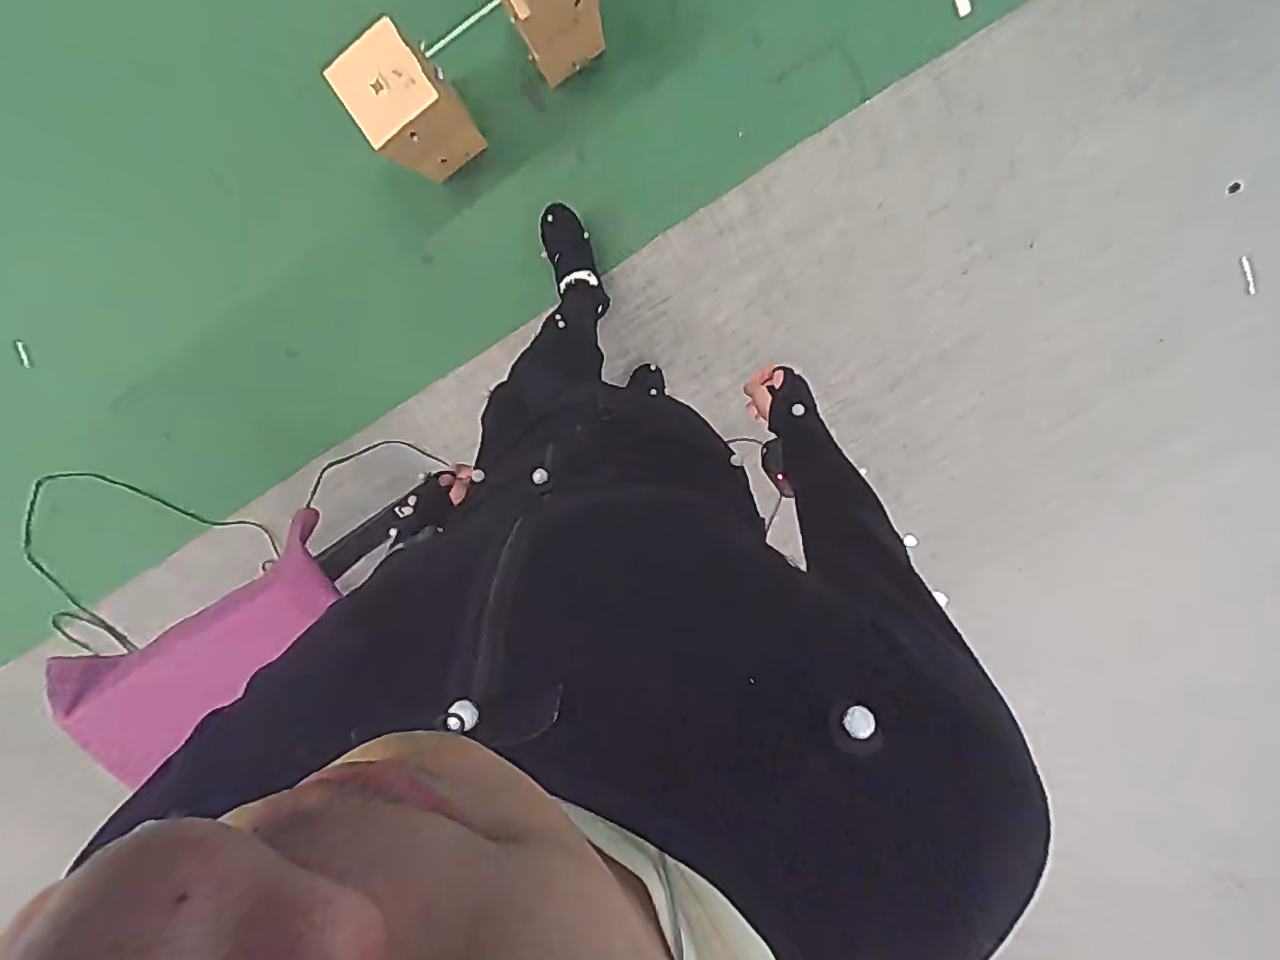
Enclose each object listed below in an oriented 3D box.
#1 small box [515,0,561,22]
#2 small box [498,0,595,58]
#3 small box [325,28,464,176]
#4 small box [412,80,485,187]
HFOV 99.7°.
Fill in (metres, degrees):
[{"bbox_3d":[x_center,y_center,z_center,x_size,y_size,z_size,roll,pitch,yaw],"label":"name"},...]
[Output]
[{"bbox_3d":[-0.193,-0.957,0.925,0.168,0.176,0.179,-36,105,11],"label":"small box"},{"bbox_3d":[-0.204,-0.997,1.084,0.168,0.176,0.179,-31,104,9],"label":"small box"},{"bbox_3d":[-0.512,-0.790,1.155,0.179,0.176,0.168,-31,103,10],"label":"small box"},{"bbox_3d":[-0.507,-0.842,1.311,0.168,0.176,0.179,-31,103,11],"label":"small box"}]
